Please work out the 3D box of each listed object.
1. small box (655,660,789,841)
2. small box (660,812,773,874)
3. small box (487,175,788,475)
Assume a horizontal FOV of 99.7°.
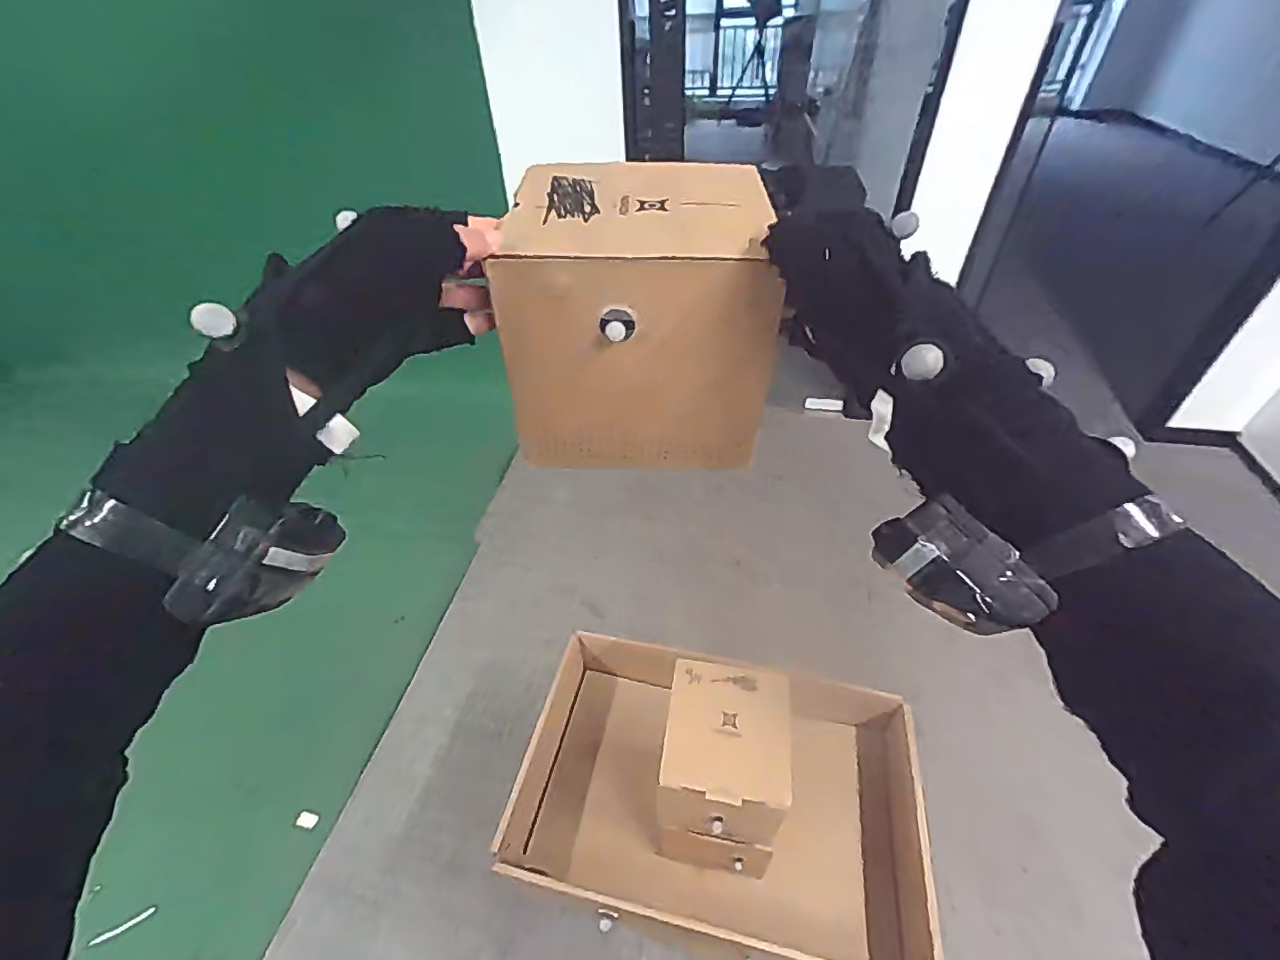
[{"bbox_3d":[0.118,0.392,0.782,0.168,0.176,0.179,7,44,9],"label":"small box"},{"bbox_3d":[0.127,0.515,0.890,0.168,0.176,0.179,7,42,8],"label":"small box"},{"bbox_3d":[0.001,-0.118,0.418,0.179,0.176,0.168,2,46,0],"label":"small box"}]
